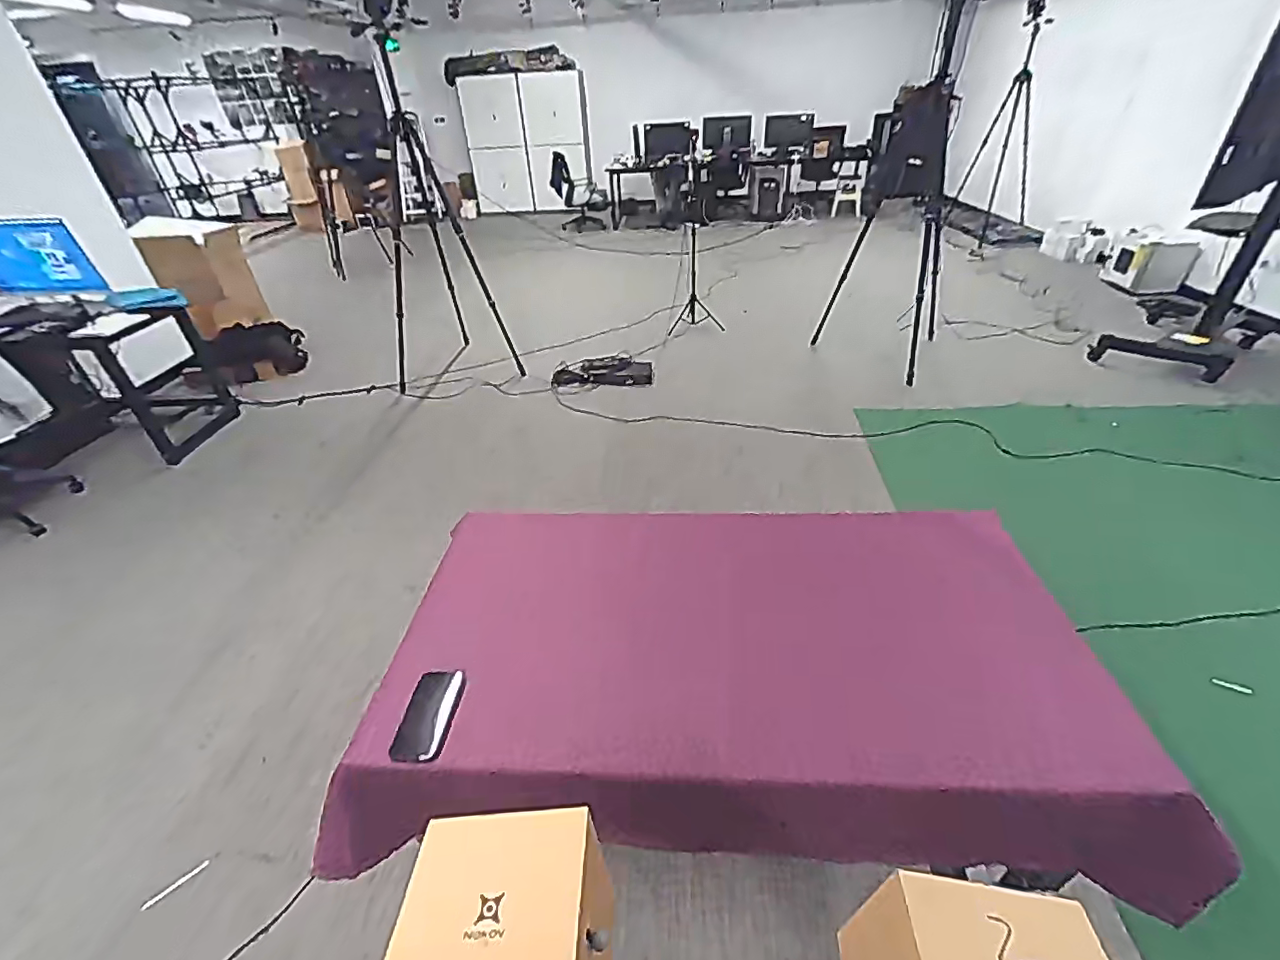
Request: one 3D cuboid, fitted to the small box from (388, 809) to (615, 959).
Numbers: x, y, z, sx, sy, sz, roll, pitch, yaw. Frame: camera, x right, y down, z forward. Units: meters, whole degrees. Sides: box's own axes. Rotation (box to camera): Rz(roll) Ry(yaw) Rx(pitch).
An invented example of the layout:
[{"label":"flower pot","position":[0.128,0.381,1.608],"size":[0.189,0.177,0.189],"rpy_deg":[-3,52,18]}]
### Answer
[{"label":"small box","position":[-0.117,0.446,0.506],"size":[0.168,0.176,0.179],"rpy_deg":[-6,29,4]}]
